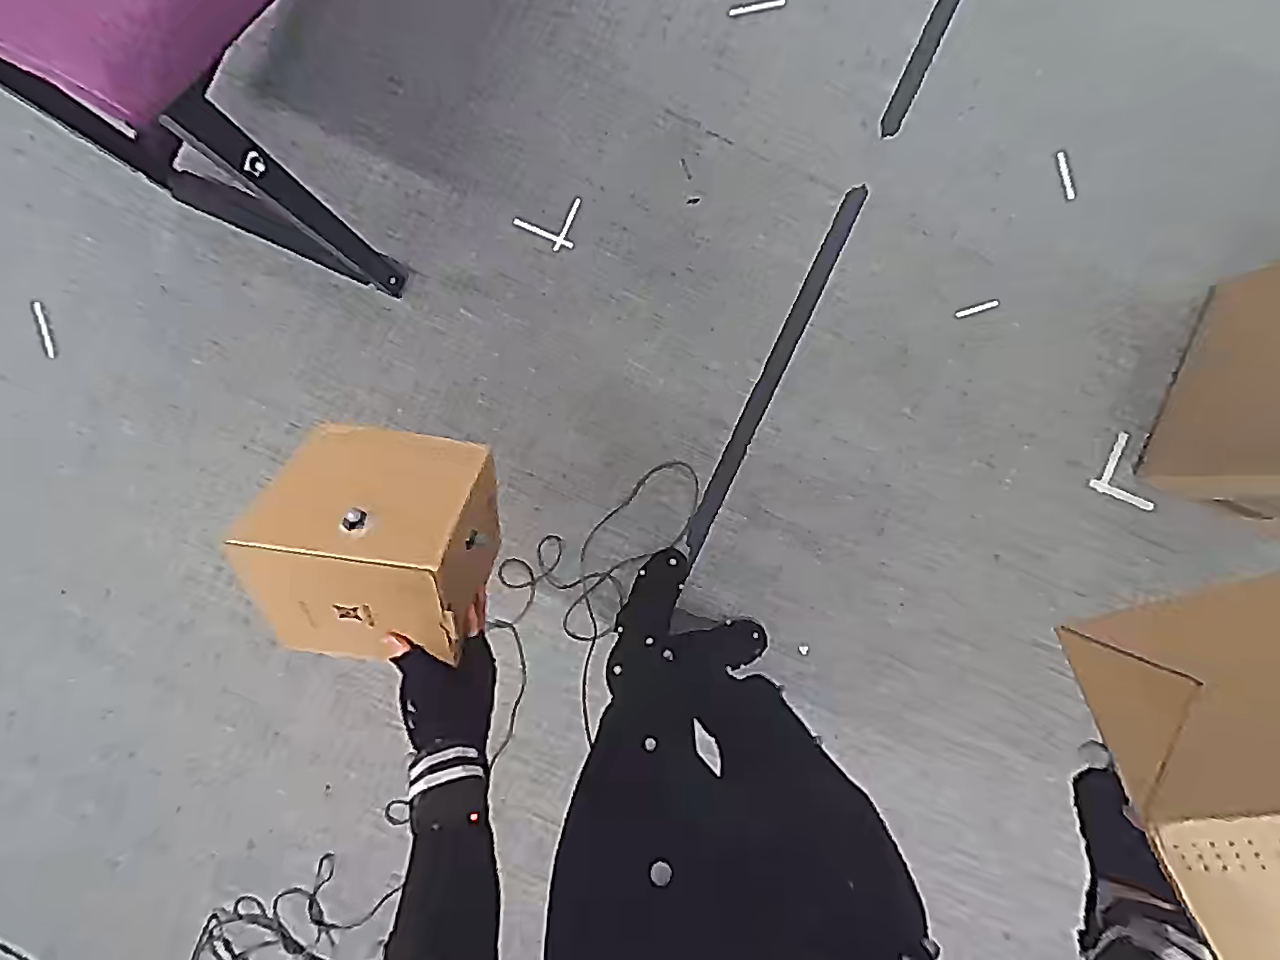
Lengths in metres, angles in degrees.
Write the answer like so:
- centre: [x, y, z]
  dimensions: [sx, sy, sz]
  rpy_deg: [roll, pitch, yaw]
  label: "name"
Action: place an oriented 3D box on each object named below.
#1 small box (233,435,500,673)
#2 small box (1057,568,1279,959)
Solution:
- centre: [-0.251, 0.071, 0.556]
  dimensions: [0.179, 0.176, 0.168]
  rpy_deg: [8, 132, 2]
  label: "small box"
- centre: [0.362, 0.165, 0.284]
  dimensions: [0.168, 0.179, 0.176]
  rpy_deg: [-31, 93, 32]
  label: "small box"
